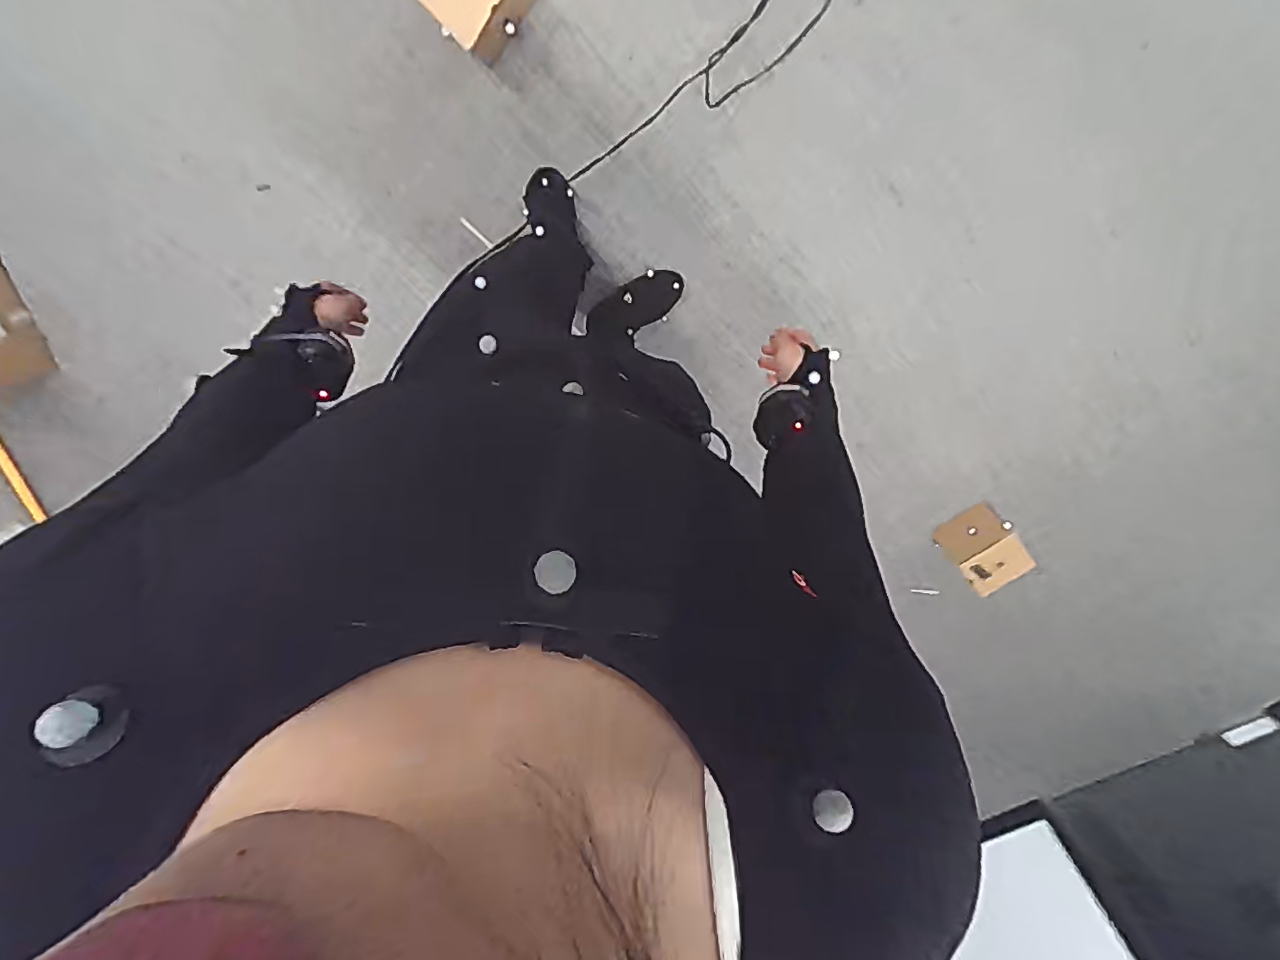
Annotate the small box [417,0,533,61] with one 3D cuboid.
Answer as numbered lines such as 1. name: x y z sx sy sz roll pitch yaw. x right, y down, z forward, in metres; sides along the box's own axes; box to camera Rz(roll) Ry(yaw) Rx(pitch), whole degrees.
1. small box: -0.314 -0.910 0.986 0.179 0.176 0.168 40 112 -22

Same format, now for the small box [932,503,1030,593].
1. small box: 1.036 0.205 1.663 0.179 0.176 0.168 -38 114 19
